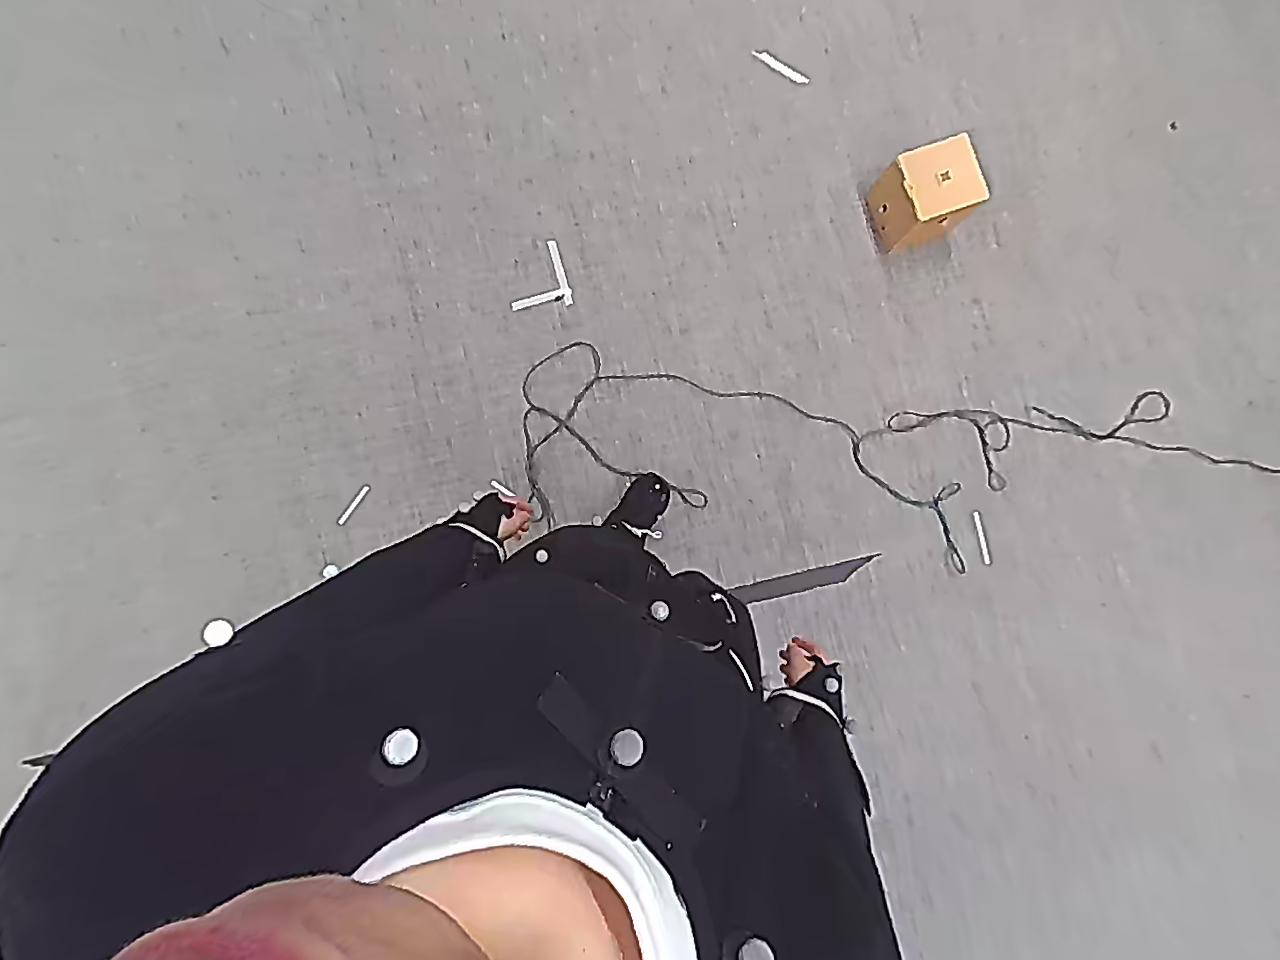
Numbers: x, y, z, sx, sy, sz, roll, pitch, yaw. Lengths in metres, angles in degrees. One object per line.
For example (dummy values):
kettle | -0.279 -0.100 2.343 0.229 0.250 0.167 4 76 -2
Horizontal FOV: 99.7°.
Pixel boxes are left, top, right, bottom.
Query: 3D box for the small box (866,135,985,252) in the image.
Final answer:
small box | 0.691 -0.693 1.326 0.179 0.176 0.168 -19 89 -1
